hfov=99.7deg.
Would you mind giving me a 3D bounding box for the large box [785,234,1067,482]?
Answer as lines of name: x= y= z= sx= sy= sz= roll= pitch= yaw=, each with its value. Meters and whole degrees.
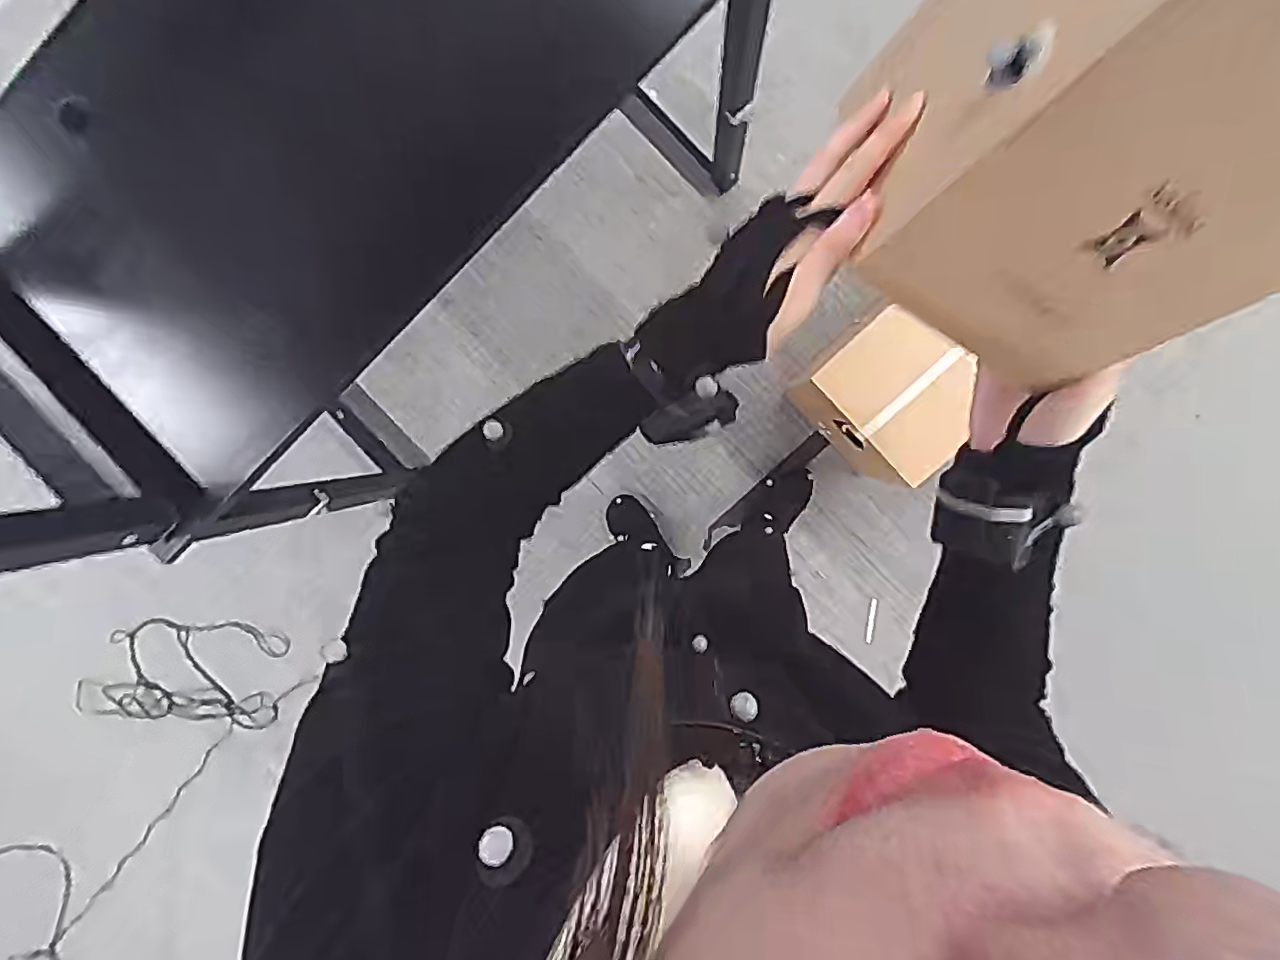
large box: x=0.600 y=-0.245 z=1.220 sx=0.408 sy=0.320 sz=0.320 roll=-43 pitch=91 yaw=6
